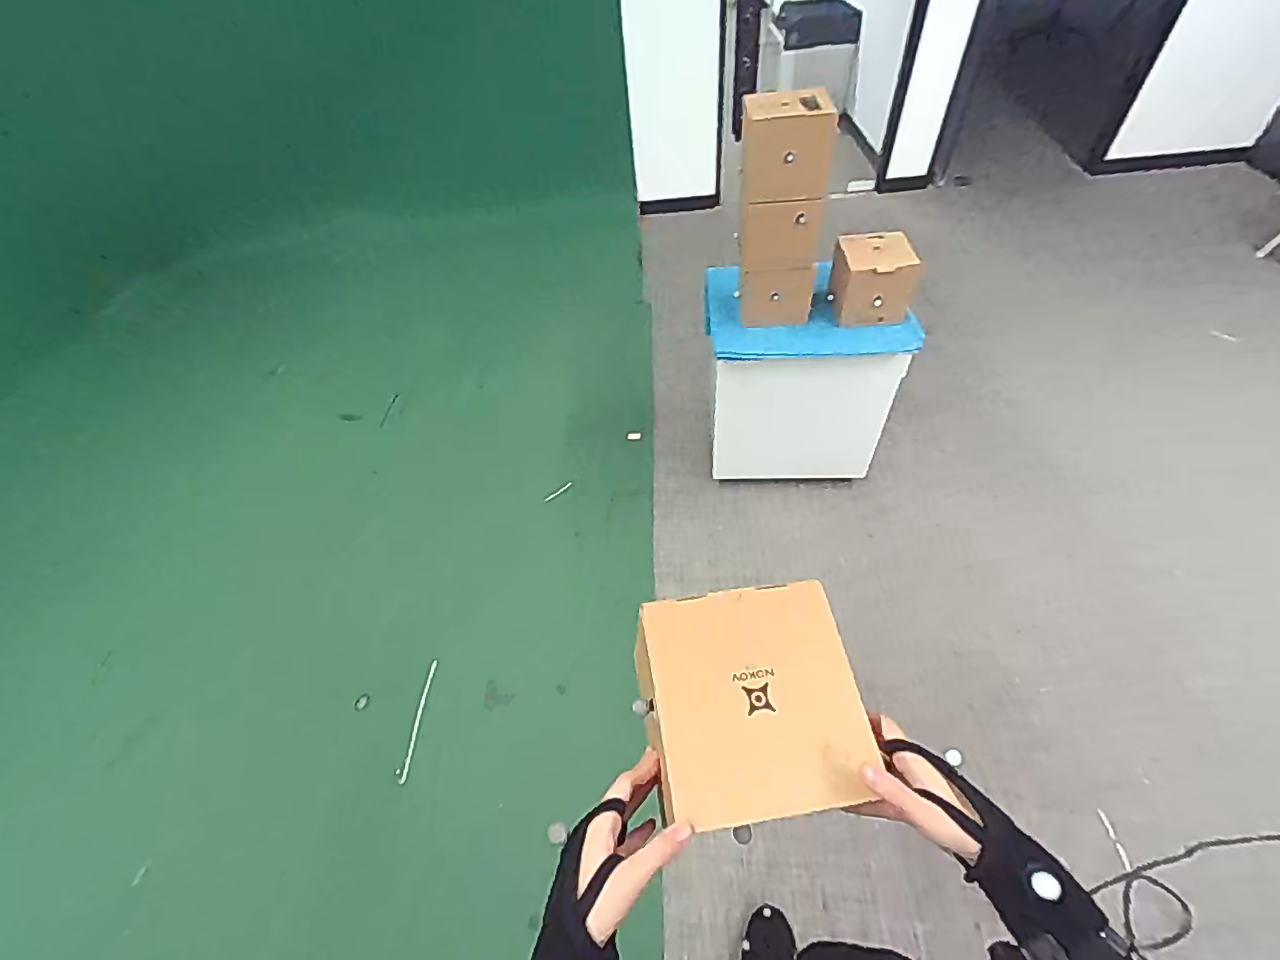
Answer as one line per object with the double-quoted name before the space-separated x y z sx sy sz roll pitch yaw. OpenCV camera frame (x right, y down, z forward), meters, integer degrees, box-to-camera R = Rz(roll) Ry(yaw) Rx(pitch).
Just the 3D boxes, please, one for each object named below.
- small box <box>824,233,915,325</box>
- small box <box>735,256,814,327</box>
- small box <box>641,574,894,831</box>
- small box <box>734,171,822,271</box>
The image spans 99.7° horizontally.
"small box" 0.594 -0.521 1.420 0.168 0.176 0.179 -2 50 5
"small box" 0.353 -0.528 1.451 0.179 0.176 0.168 -2 49 5
"small box" 0.094 0.207 0.499 0.168 0.176 0.179 -6 58 -6
"small box" 0.331 -0.633 1.326 0.179 0.176 0.168 -2 49 4
